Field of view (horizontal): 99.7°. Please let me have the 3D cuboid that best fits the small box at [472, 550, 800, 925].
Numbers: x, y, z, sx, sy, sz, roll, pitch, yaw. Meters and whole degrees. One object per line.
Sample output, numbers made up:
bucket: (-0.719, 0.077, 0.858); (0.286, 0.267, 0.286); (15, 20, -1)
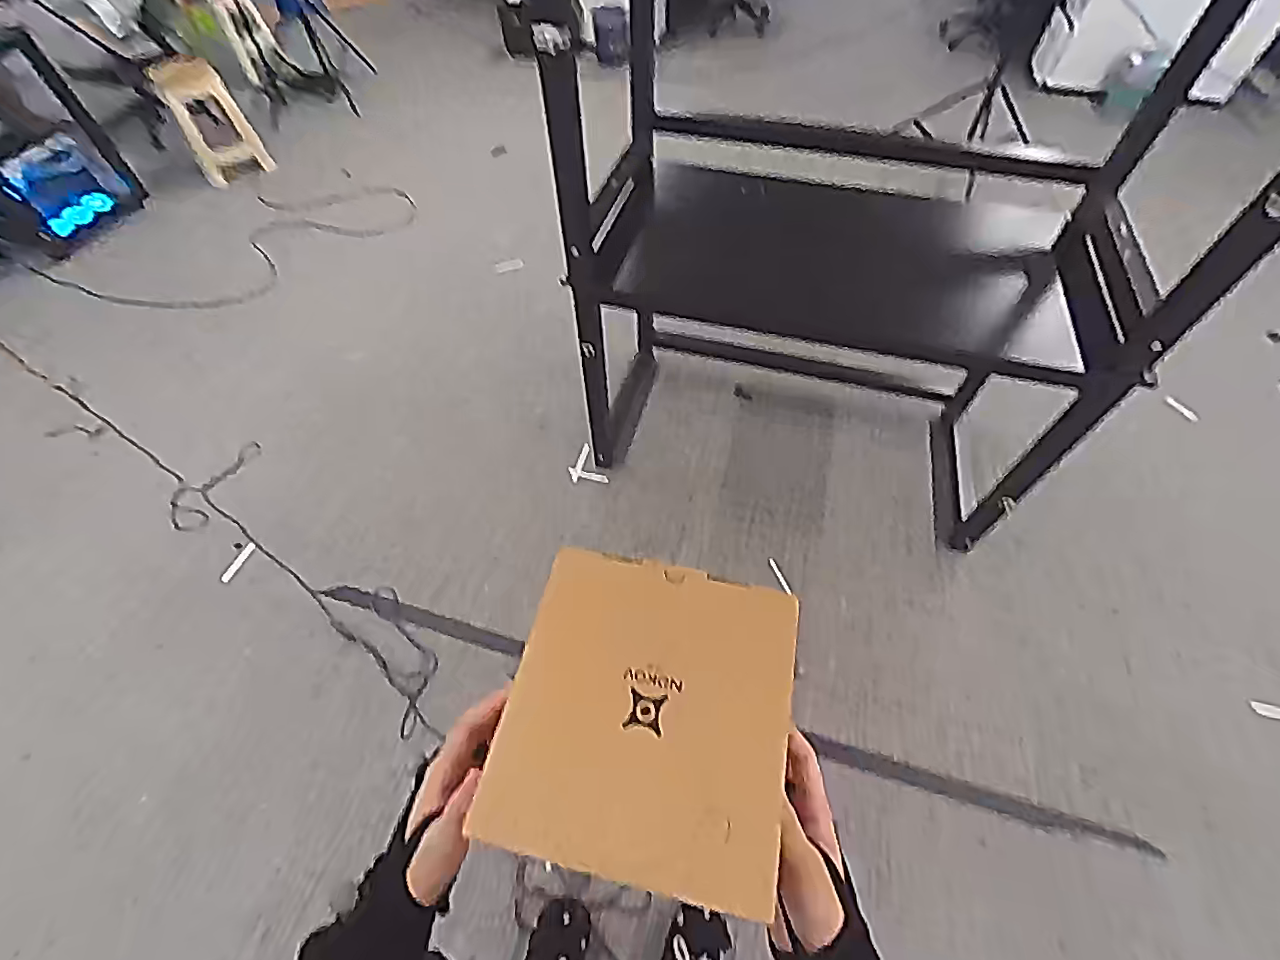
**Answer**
small box: (0.009, 0.176, 0.384); (0.168, 0.176, 0.179); (10, 57, 7)
